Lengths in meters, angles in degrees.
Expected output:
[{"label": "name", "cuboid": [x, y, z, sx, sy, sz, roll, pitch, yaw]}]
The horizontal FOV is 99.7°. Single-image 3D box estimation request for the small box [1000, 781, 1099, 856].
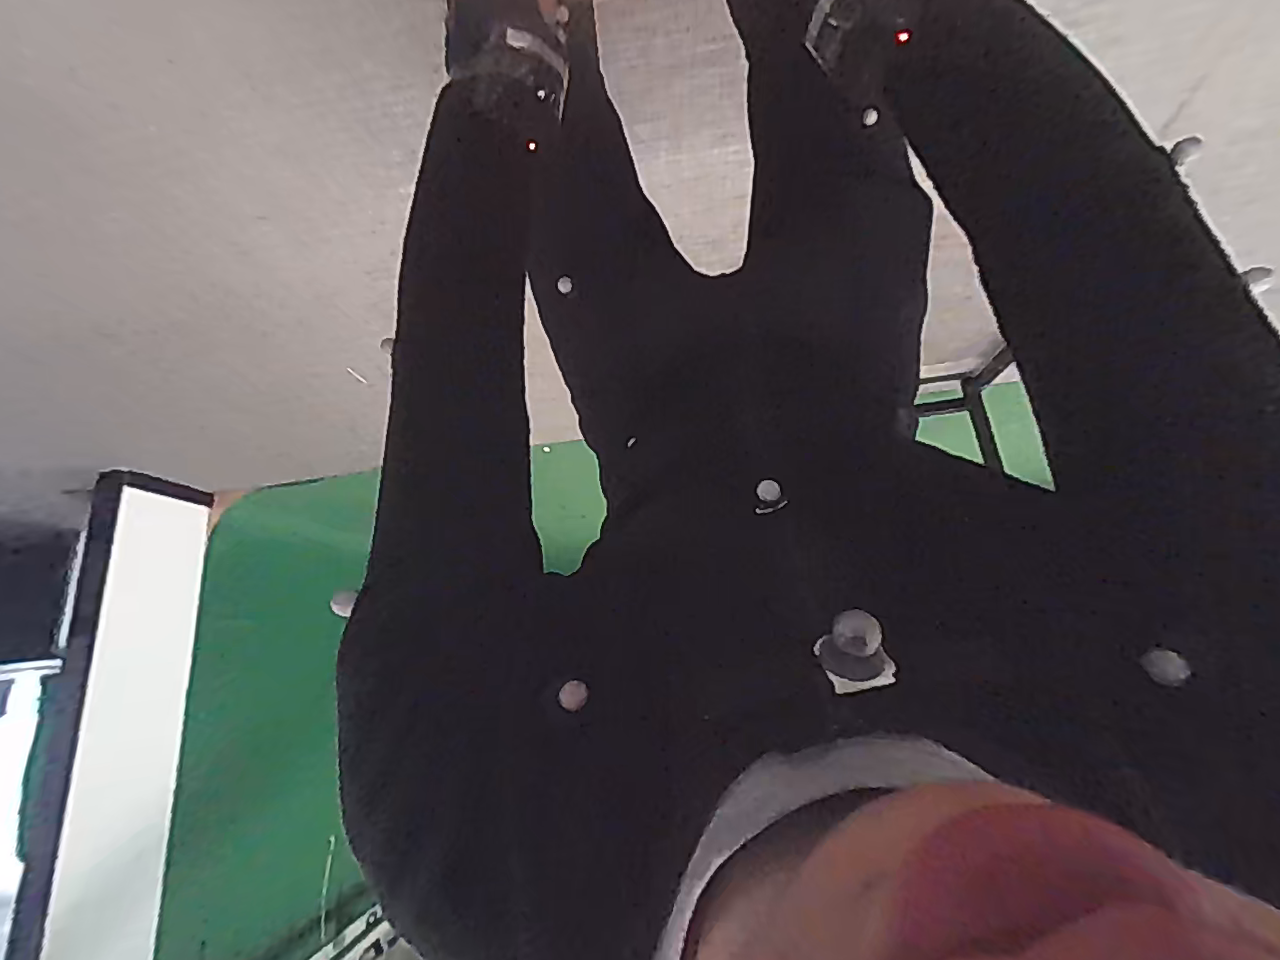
[{"label": "small box", "cuboid": [1.234, 1.013, 1.646, 0.168, 0.176, 0.179, -10, 162, 8]}]
